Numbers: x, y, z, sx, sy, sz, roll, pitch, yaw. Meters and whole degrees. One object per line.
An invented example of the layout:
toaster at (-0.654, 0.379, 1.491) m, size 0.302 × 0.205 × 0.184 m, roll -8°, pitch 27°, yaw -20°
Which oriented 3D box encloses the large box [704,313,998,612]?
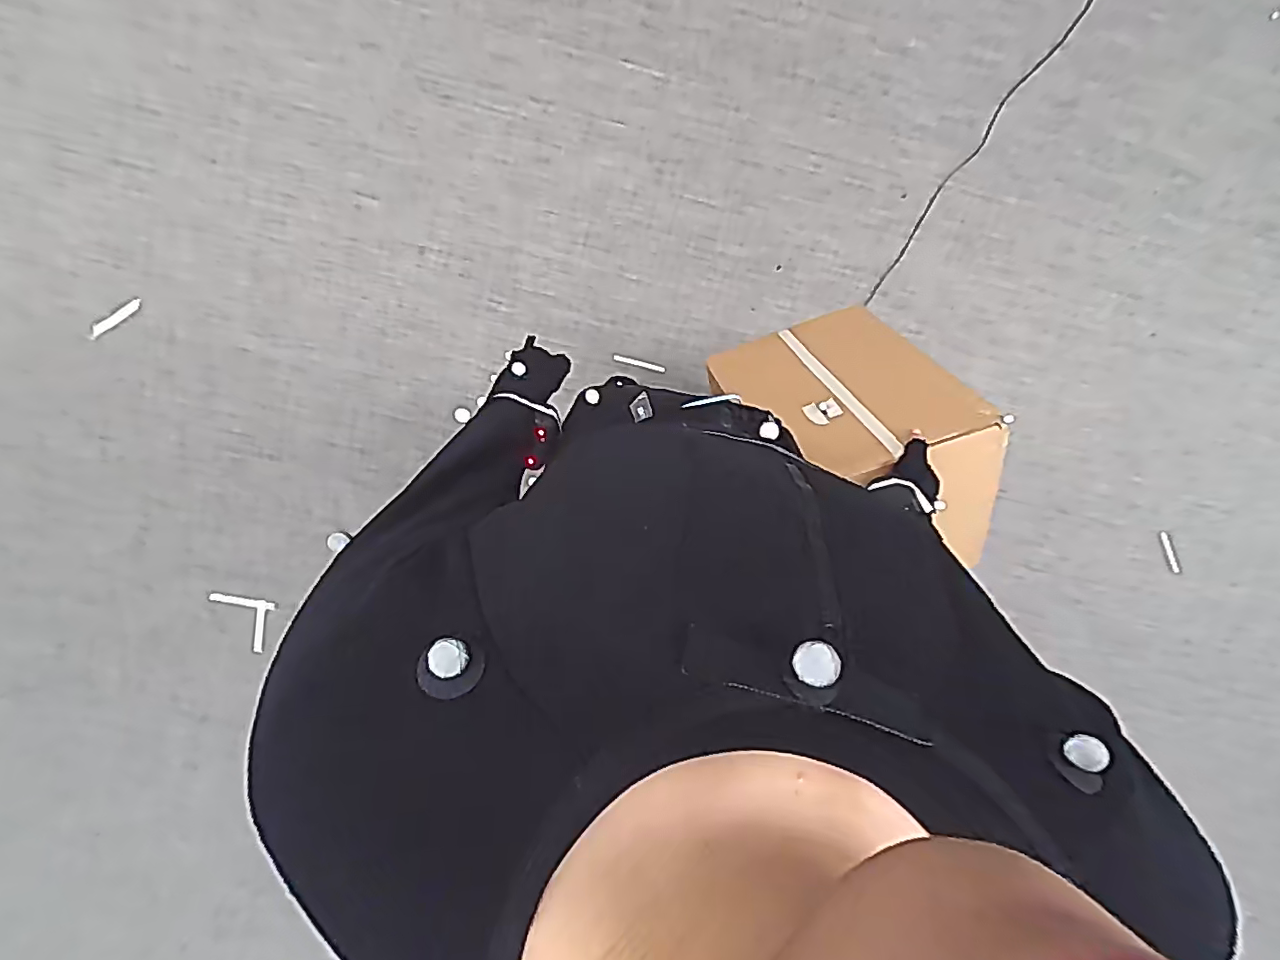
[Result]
large box at (0.339, -0.043, 0.985) m, size 0.320 × 0.408 × 0.320 m, roll -19°, pitch 132°, yaw 1°
